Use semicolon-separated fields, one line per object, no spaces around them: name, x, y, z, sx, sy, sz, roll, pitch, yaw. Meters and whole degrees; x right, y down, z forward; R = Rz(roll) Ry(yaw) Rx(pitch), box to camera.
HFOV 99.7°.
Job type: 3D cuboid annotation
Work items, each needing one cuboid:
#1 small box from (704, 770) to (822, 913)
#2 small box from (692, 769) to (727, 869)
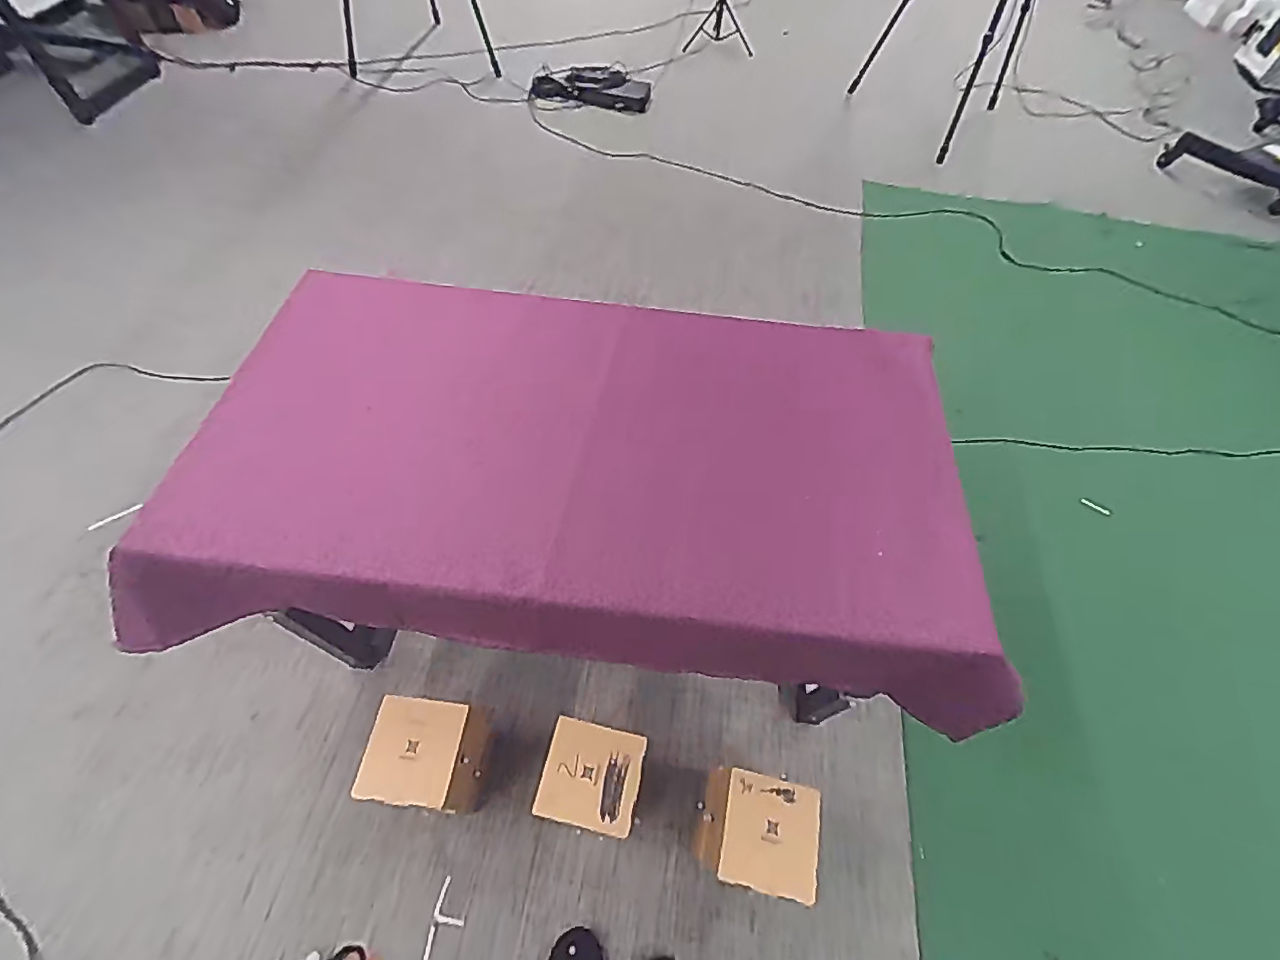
small box;0.222;0.660;1.005;0.168;0.176;0.179;15;60;4
small box;0.213;0.743;1.149;0.168;0.176;0.179;17;58;7
